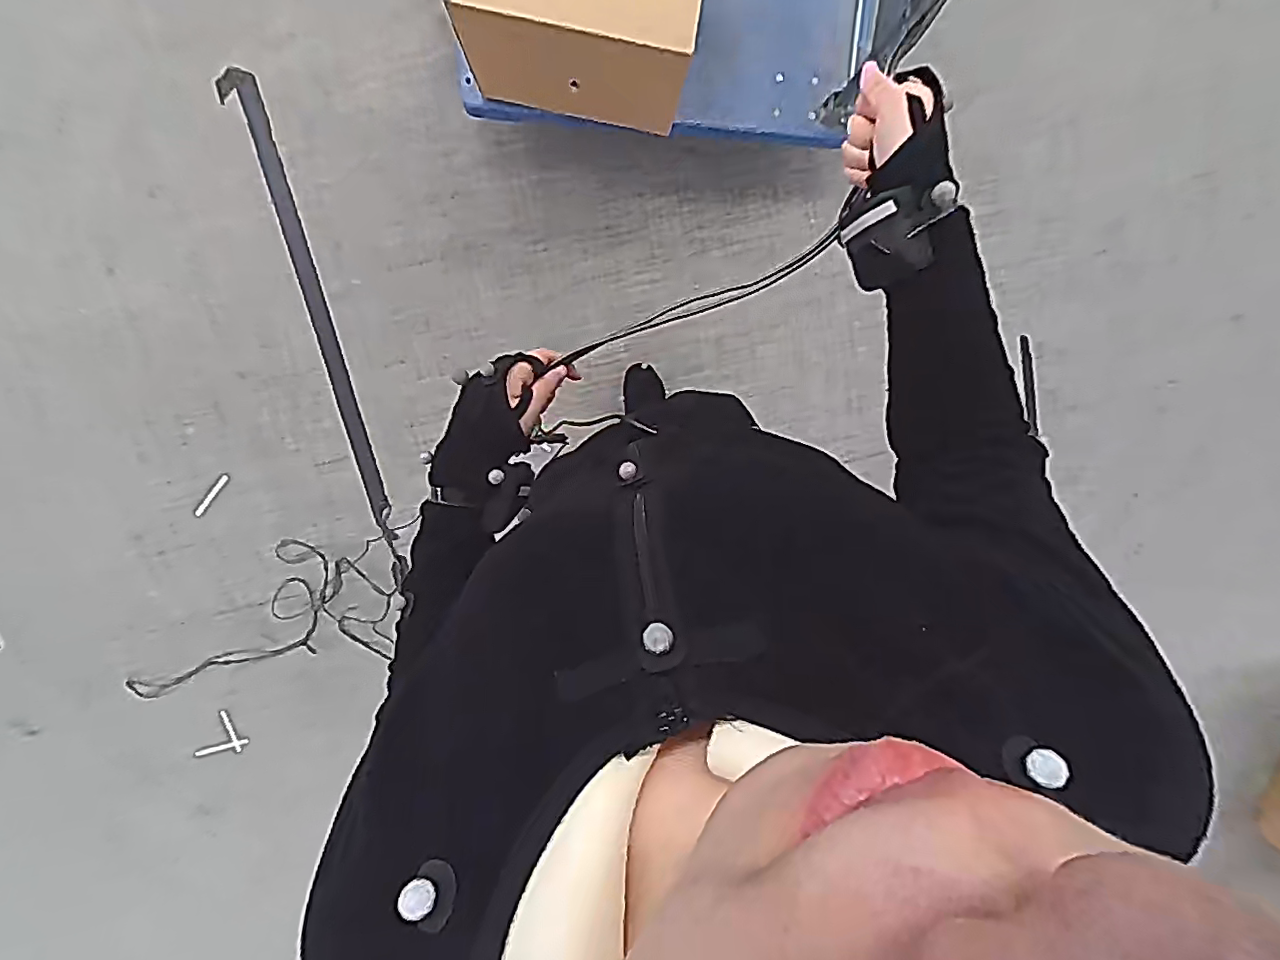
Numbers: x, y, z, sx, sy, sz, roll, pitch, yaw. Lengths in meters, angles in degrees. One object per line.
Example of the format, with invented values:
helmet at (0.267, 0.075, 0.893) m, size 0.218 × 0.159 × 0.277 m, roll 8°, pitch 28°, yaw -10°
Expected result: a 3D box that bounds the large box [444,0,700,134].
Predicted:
large box at (-0.100, -0.886, 0.982) m, size 0.408 × 0.320 × 0.320 m, roll 8°, pitch 100°, yaw -6°
